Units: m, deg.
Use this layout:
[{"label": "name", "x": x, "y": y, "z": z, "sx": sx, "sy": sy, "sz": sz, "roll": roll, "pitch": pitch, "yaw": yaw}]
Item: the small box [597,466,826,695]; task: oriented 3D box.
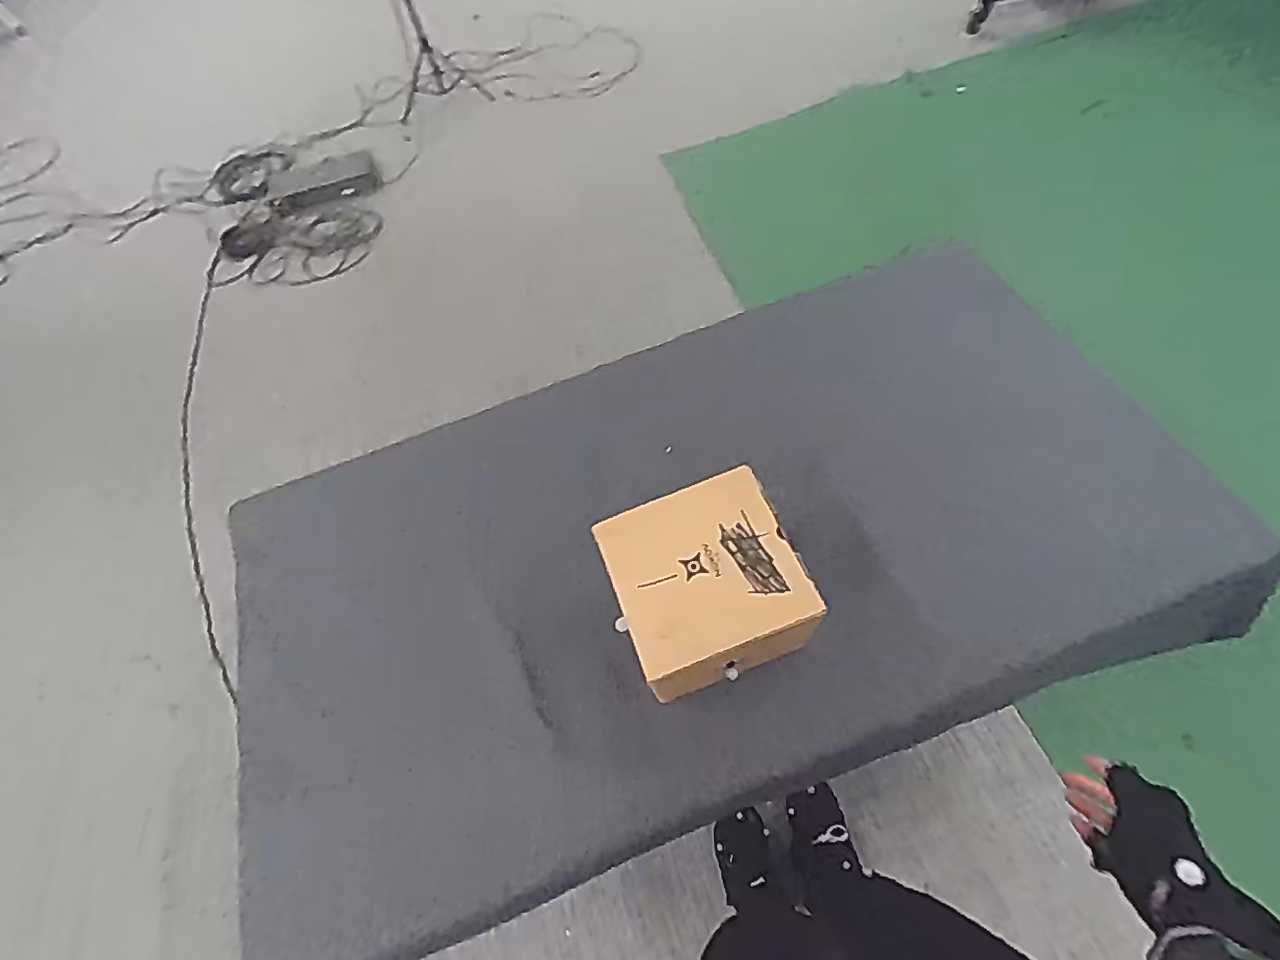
[{"label": "small box", "x": 0.070, "y": 0.117, "z": 0.596, "sx": 0.179, "sy": 0.176, "sz": 0.168, "roll": -23, "pitch": 62, "yaw": -7}]
